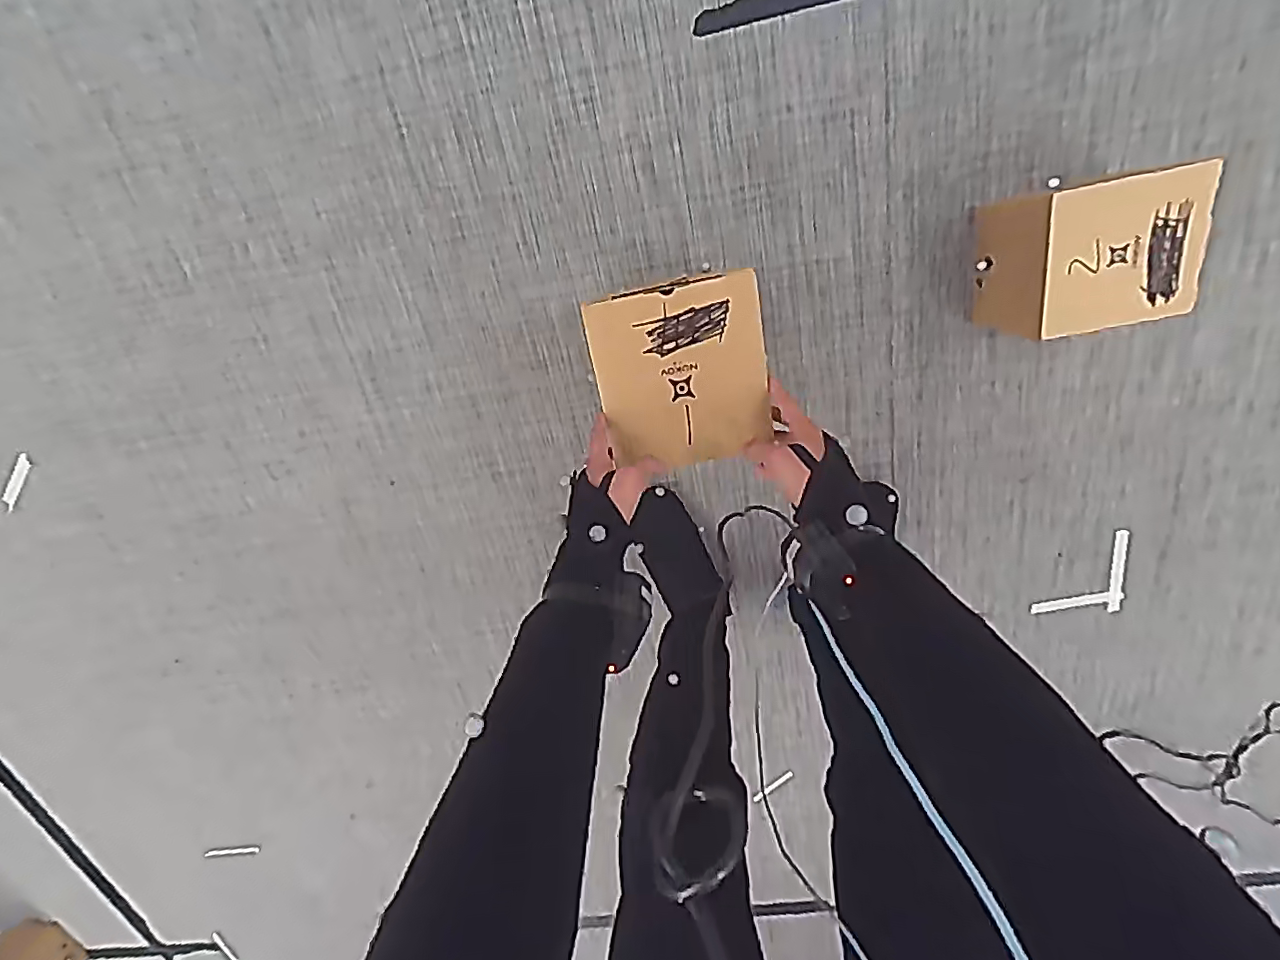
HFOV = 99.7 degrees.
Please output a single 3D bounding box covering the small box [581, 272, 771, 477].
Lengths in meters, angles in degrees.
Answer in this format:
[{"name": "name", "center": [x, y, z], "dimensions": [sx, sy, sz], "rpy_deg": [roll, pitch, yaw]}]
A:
[{"name": "small box", "center": [0.039, -0.123, 0.596], "dimensions": [0.168, 0.176, 0.179], "rpy_deg": [-10, 111, 5]}]
